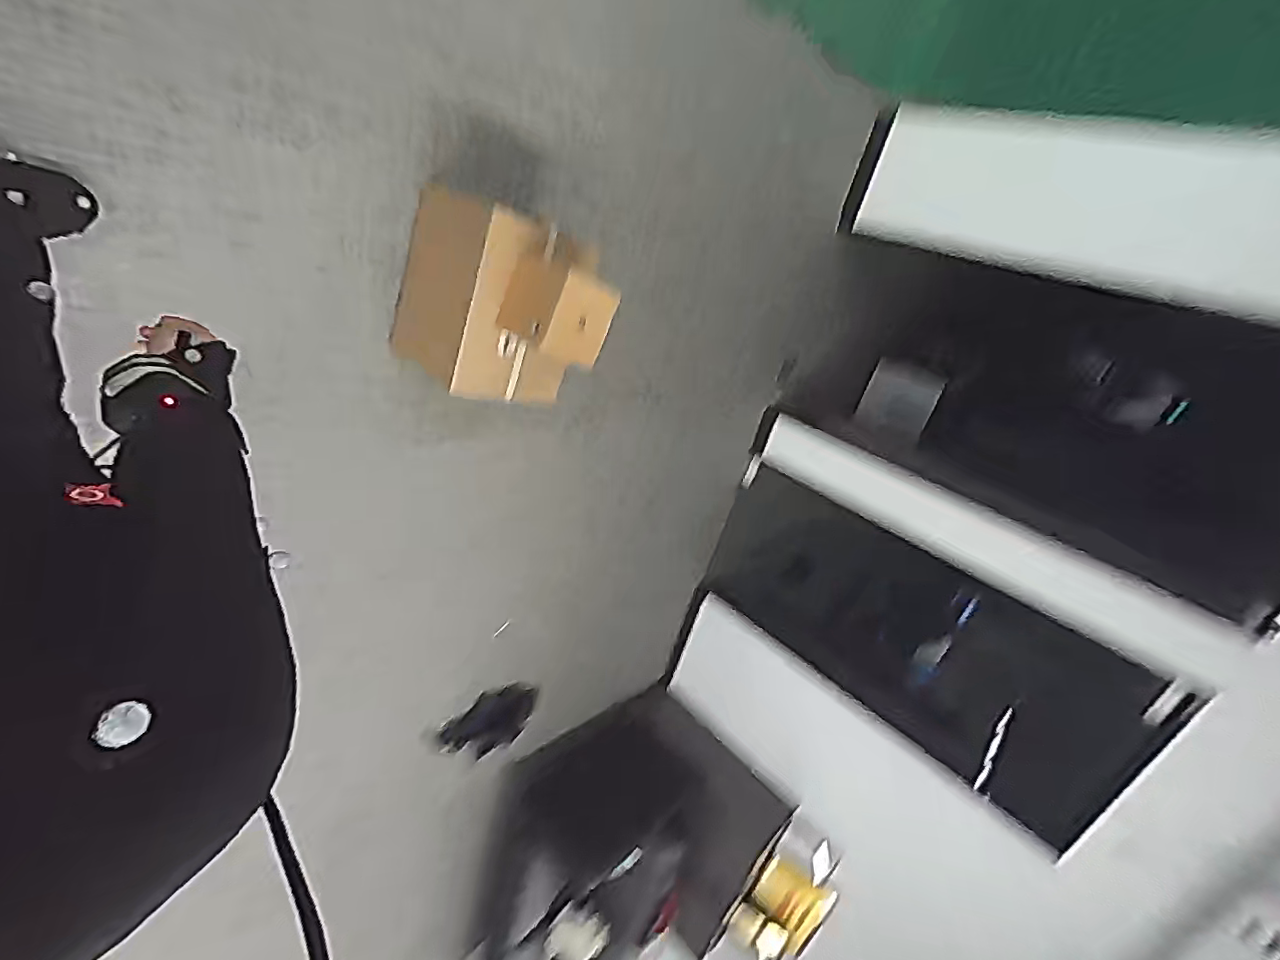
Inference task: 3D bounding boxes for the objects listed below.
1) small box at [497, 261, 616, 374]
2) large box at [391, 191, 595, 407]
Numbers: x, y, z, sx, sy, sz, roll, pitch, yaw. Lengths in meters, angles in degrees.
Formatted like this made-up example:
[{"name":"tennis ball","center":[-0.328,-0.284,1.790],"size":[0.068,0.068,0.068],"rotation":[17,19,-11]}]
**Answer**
[{"name":"small box","center":[-0.190,-0.362,1.202],"size":[0.168,0.176,0.179],"rotation":[6,113,-54]},{"name":"large box","center":[-0.375,-0.436,1.348],"size":[0.320,0.320,0.408],"rotation":[-2,120,-50]}]
